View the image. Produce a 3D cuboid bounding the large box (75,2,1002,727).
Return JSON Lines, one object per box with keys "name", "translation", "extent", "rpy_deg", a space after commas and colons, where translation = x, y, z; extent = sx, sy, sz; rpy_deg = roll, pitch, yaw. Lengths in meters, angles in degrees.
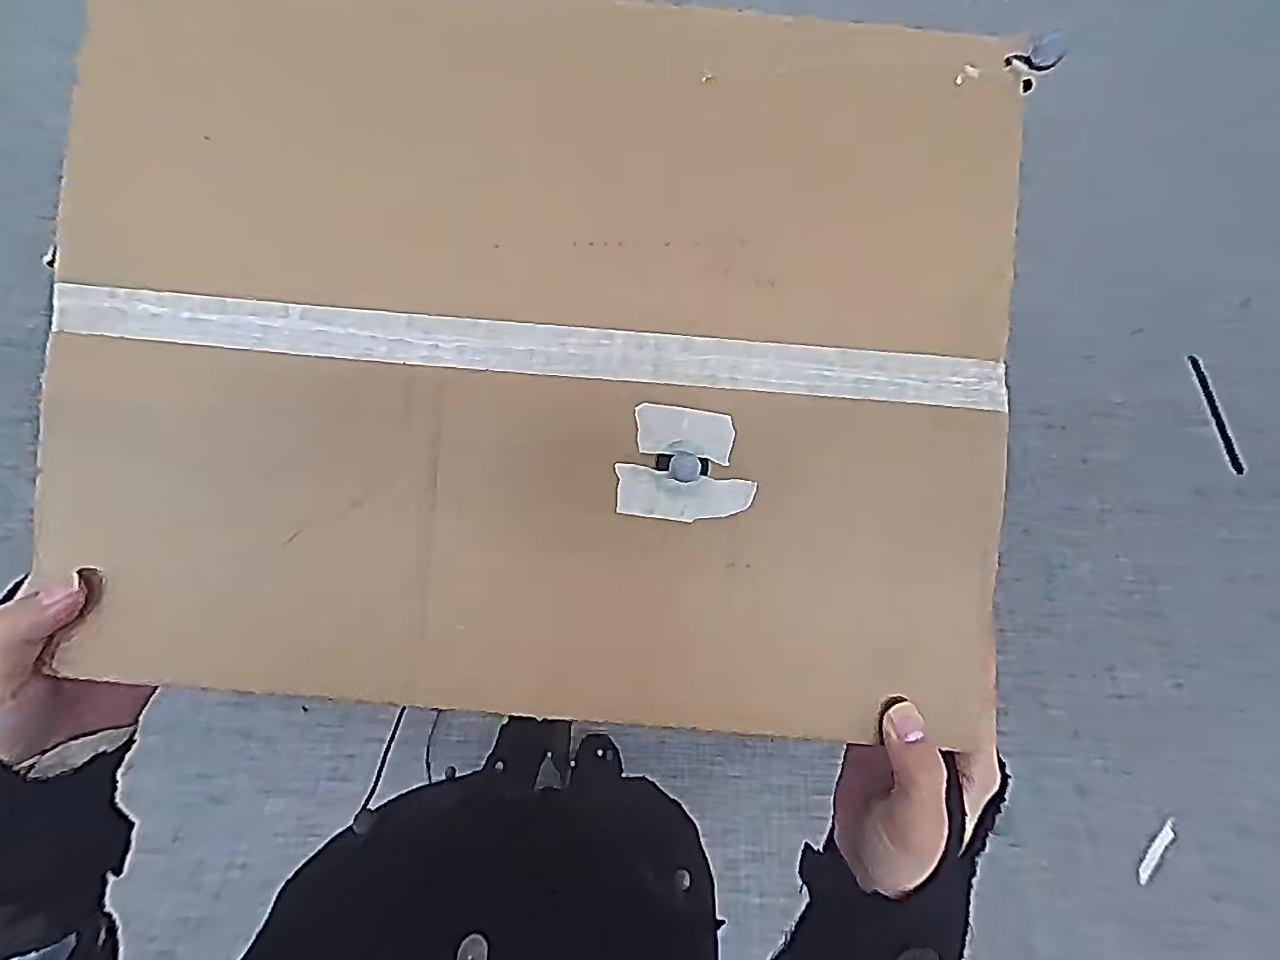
{"name": "large box", "translation": [-0.043, -0.048, 0.392], "extent": [0.408, 0.320, 0.320], "rpy_deg": [5, 89, -1]}
